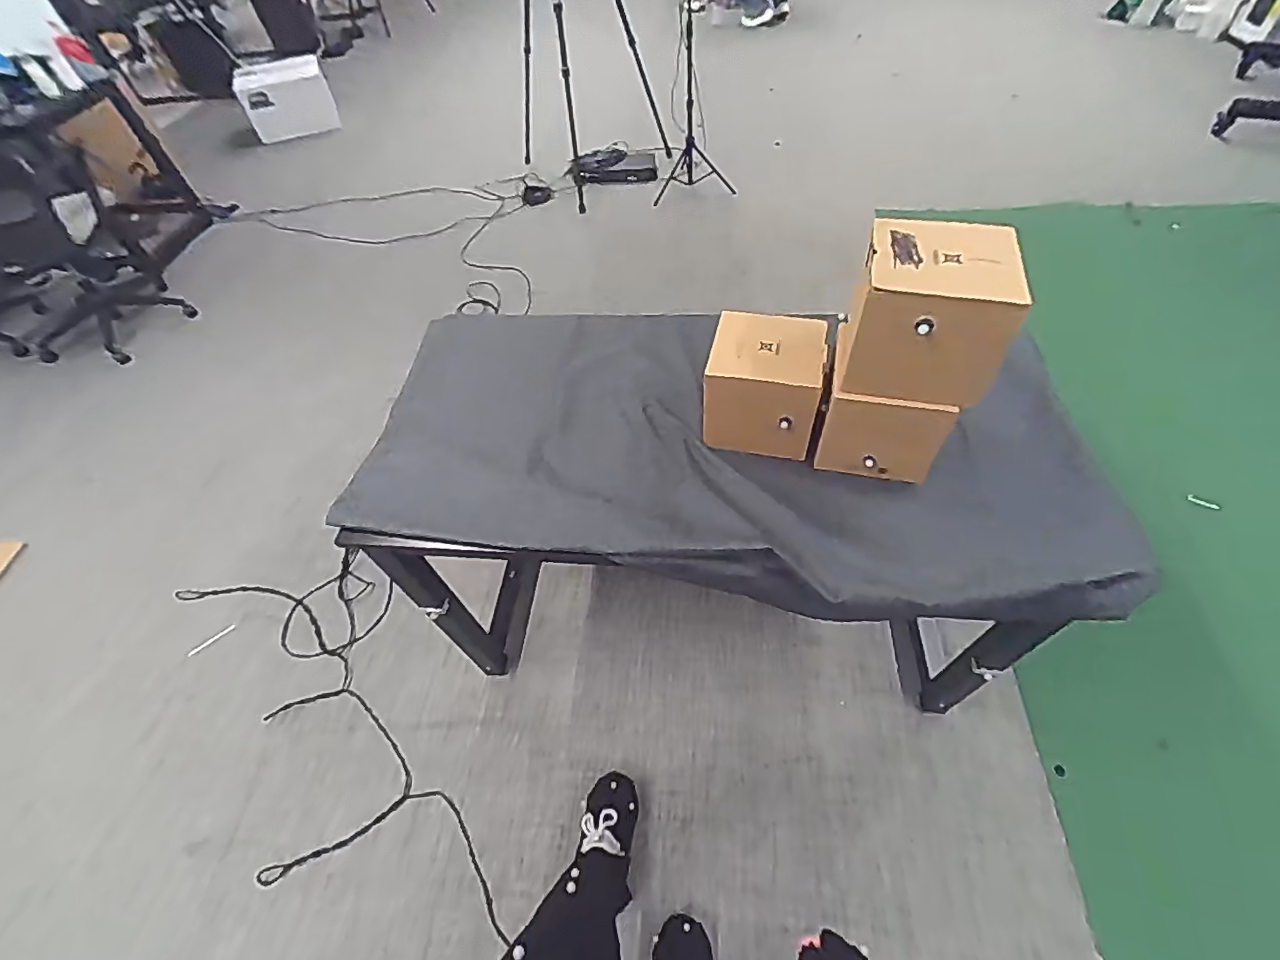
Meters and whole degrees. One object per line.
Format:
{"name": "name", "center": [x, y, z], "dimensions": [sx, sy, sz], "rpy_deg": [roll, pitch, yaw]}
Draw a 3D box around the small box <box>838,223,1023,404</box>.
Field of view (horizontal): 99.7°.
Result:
{"name": "small box", "center": [0.378, -0.223, 0.736], "dimensions": [0.179, 0.176, 0.168], "rpy_deg": [10, 55, 13]}
